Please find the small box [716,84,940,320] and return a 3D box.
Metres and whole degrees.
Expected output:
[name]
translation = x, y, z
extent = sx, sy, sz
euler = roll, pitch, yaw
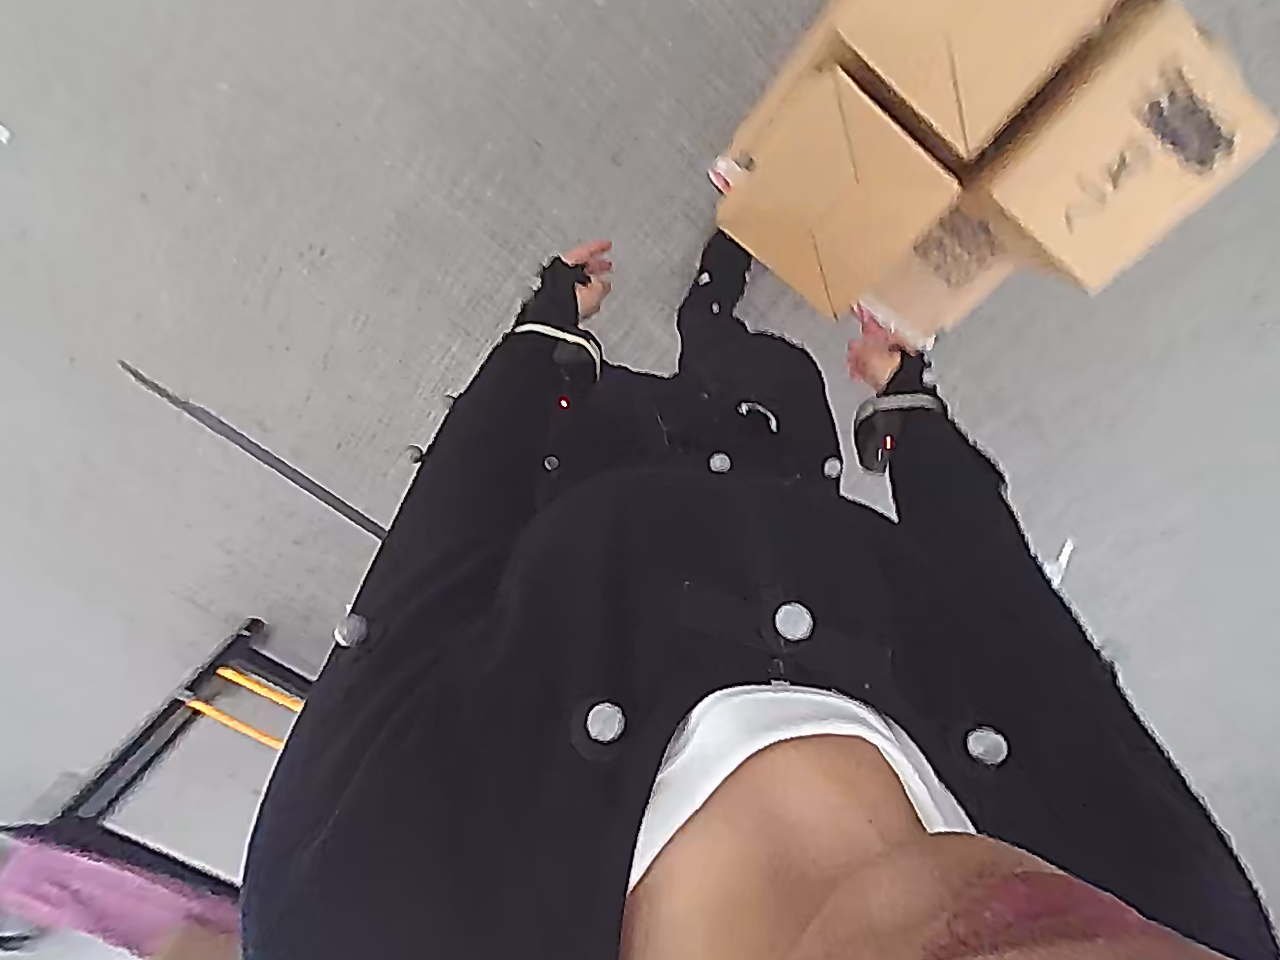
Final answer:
[small box]
translation = 0.207, -0.318, 0.626
extent = 0.179, 0.176, 0.168
euler = 36, 120, -12
